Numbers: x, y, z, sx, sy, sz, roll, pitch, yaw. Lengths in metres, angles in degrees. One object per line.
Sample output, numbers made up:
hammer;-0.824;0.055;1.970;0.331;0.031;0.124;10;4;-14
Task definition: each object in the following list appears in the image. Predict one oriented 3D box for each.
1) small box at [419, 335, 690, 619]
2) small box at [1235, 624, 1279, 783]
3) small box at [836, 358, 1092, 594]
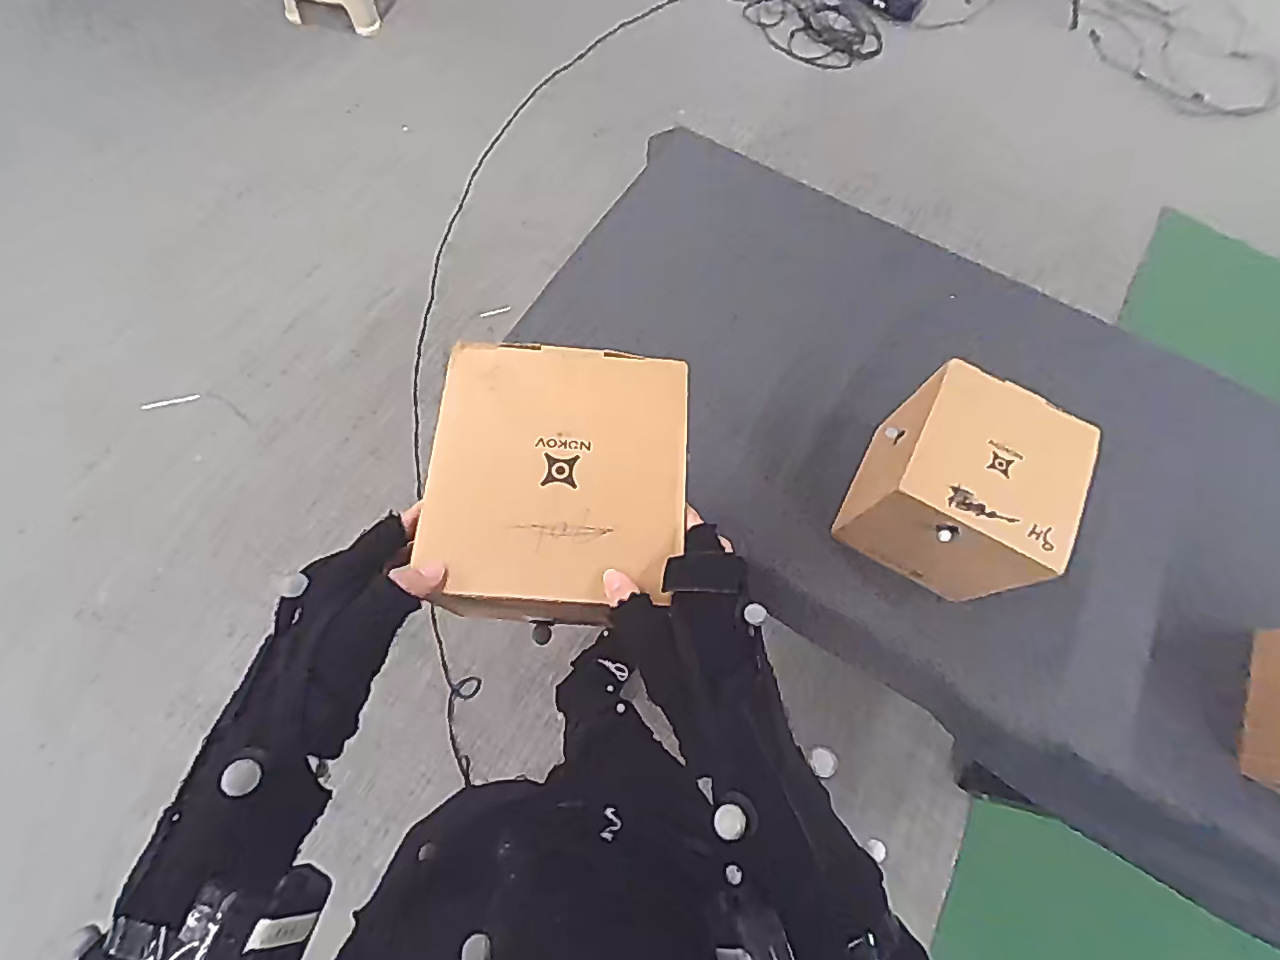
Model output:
small box;-0.056;0.010;0.433;0.168;0.176;0.179;4;71;-3
small box;0.766;0.252;0.539;0.168;0.176;0.179;29;69;9
small box;0.348;0.005;0.610;0.168;0.176;0.179;29;69;8
